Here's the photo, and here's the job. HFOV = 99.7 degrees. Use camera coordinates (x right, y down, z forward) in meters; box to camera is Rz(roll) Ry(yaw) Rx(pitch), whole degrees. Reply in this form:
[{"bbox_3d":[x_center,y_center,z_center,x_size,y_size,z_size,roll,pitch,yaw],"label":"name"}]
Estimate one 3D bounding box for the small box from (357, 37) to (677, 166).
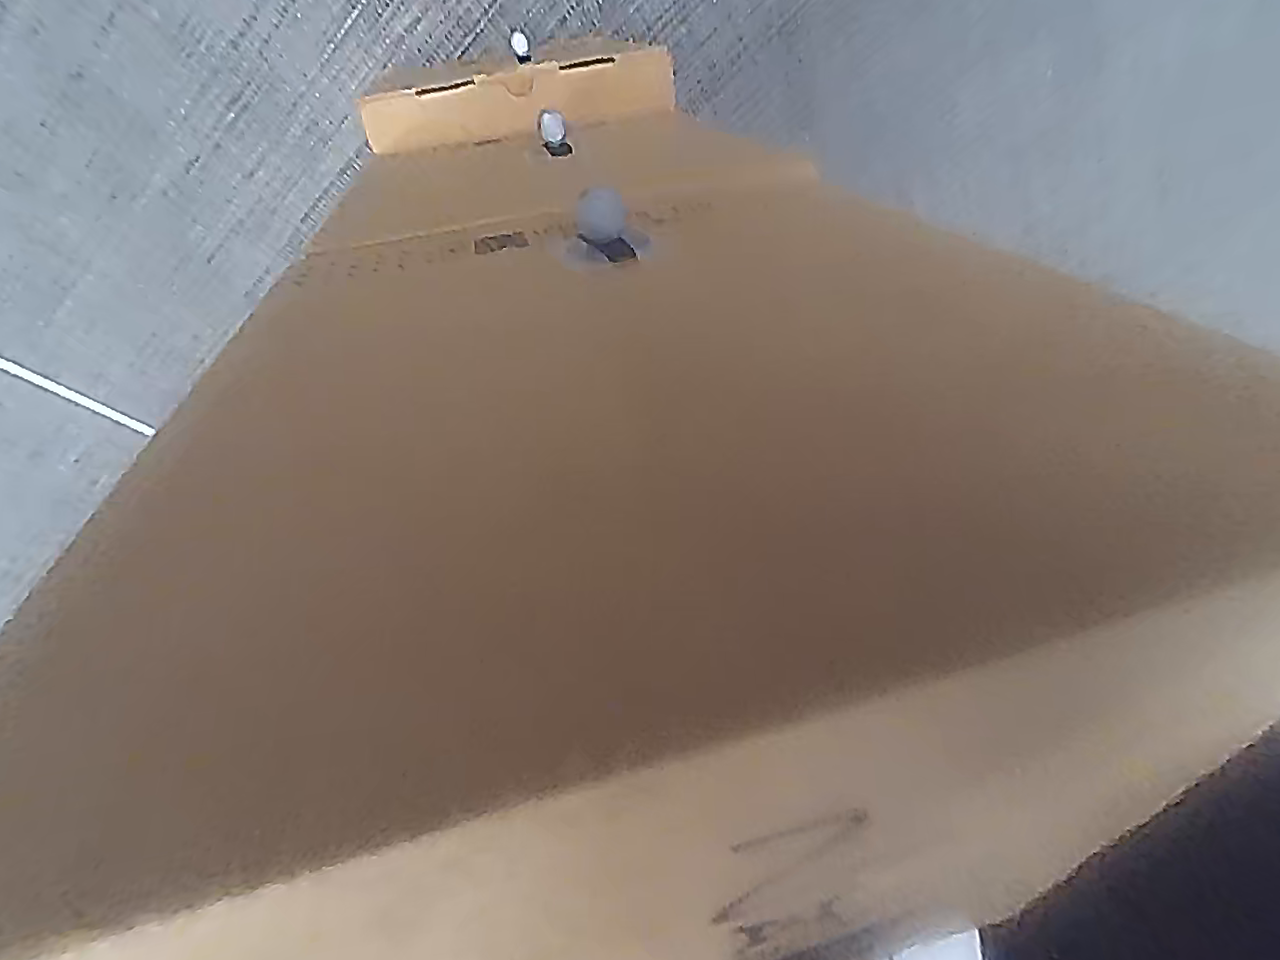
[{"bbox_3d":[-0.072,-0.194,0.388,0.168,0.176,0.179,-15,132,-7],"label":"small box"}]
